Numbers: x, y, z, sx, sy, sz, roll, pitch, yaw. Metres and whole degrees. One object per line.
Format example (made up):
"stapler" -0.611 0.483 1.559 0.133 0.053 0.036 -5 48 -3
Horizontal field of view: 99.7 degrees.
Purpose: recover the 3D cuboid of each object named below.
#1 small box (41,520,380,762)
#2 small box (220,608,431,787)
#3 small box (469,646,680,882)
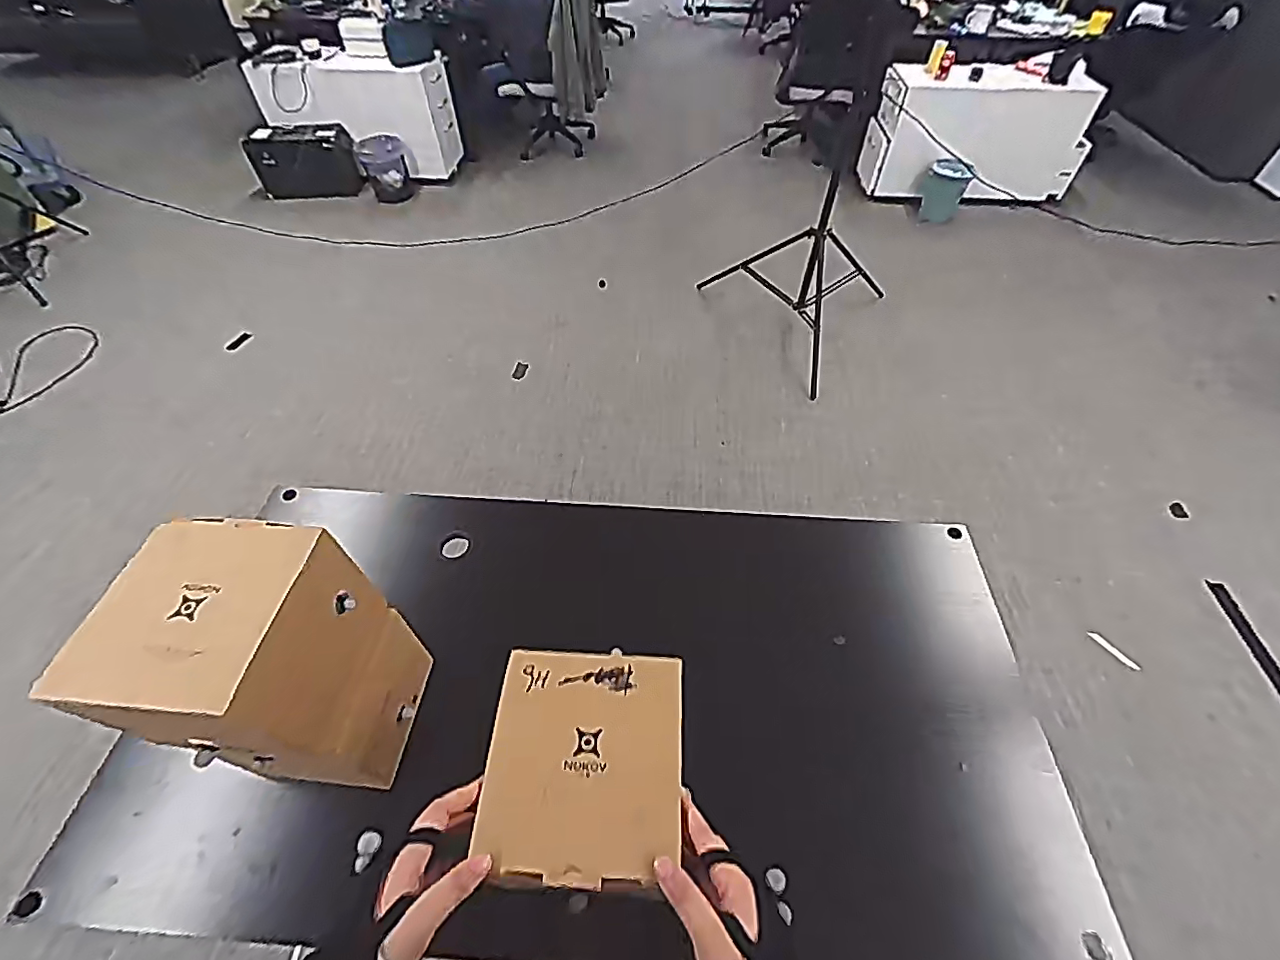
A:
"small box" -0.387 0.161 0.536 0.168 0.176 0.179 2 51 3
"small box" -0.385 0.263 0.662 0.179 0.176 0.168 5 51 2
"small box" -0.047 0.280 0.528 0.168 0.176 0.179 2 51 2
